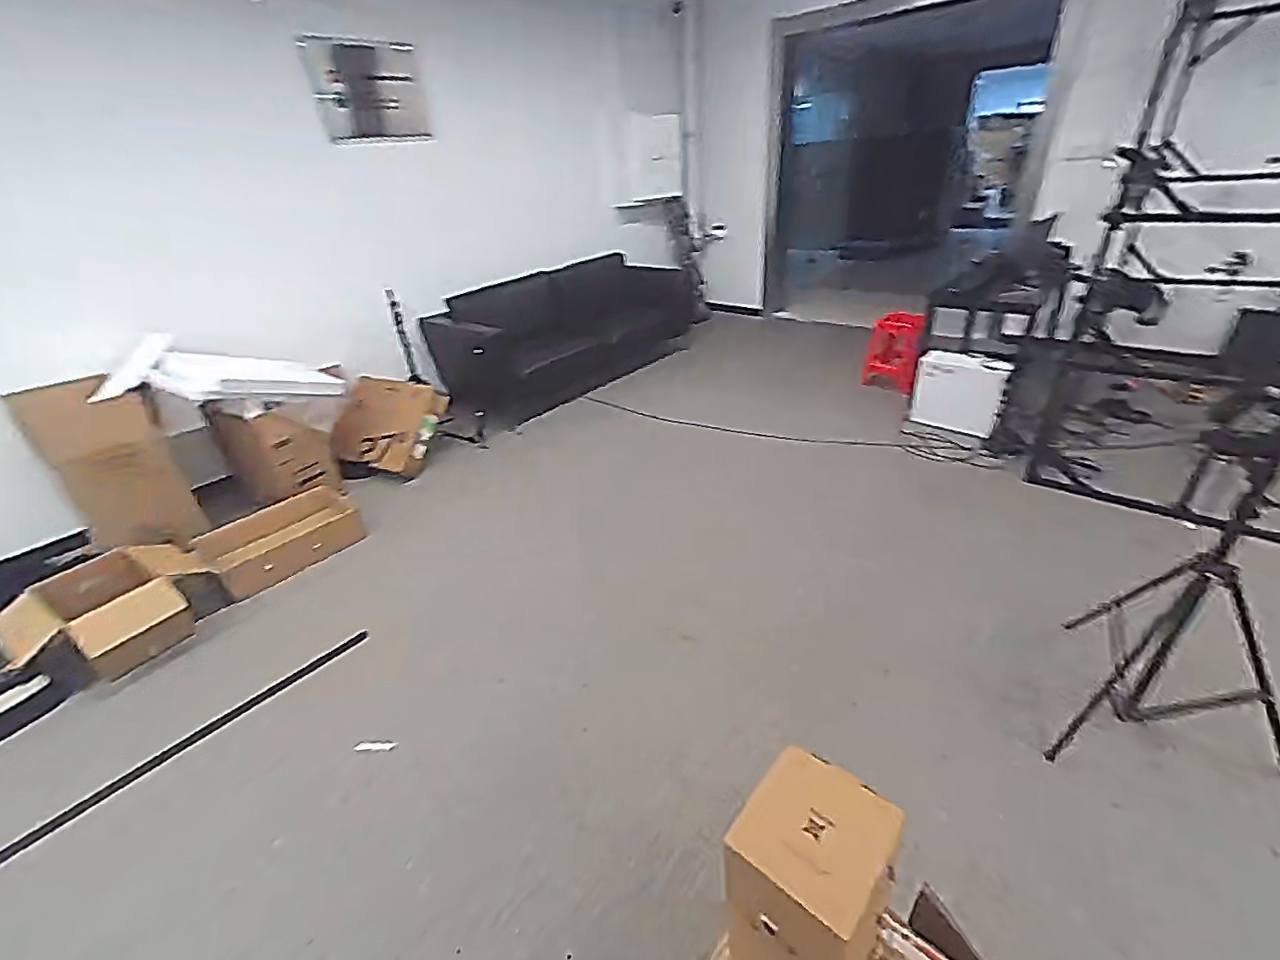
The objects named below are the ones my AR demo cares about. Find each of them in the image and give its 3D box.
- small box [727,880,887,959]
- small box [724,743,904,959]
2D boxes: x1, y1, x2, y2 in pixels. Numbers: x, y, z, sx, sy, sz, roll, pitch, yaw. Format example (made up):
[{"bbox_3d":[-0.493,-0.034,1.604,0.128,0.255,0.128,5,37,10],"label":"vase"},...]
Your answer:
[{"bbox_3d":[0.244,0.646,0.807,0.168,0.176,0.179,20,40,39],"label":"small box"},{"bbox_3d":[0.228,0.508,0.724,0.168,0.176,0.179,19,40,39],"label":"small box"}]
